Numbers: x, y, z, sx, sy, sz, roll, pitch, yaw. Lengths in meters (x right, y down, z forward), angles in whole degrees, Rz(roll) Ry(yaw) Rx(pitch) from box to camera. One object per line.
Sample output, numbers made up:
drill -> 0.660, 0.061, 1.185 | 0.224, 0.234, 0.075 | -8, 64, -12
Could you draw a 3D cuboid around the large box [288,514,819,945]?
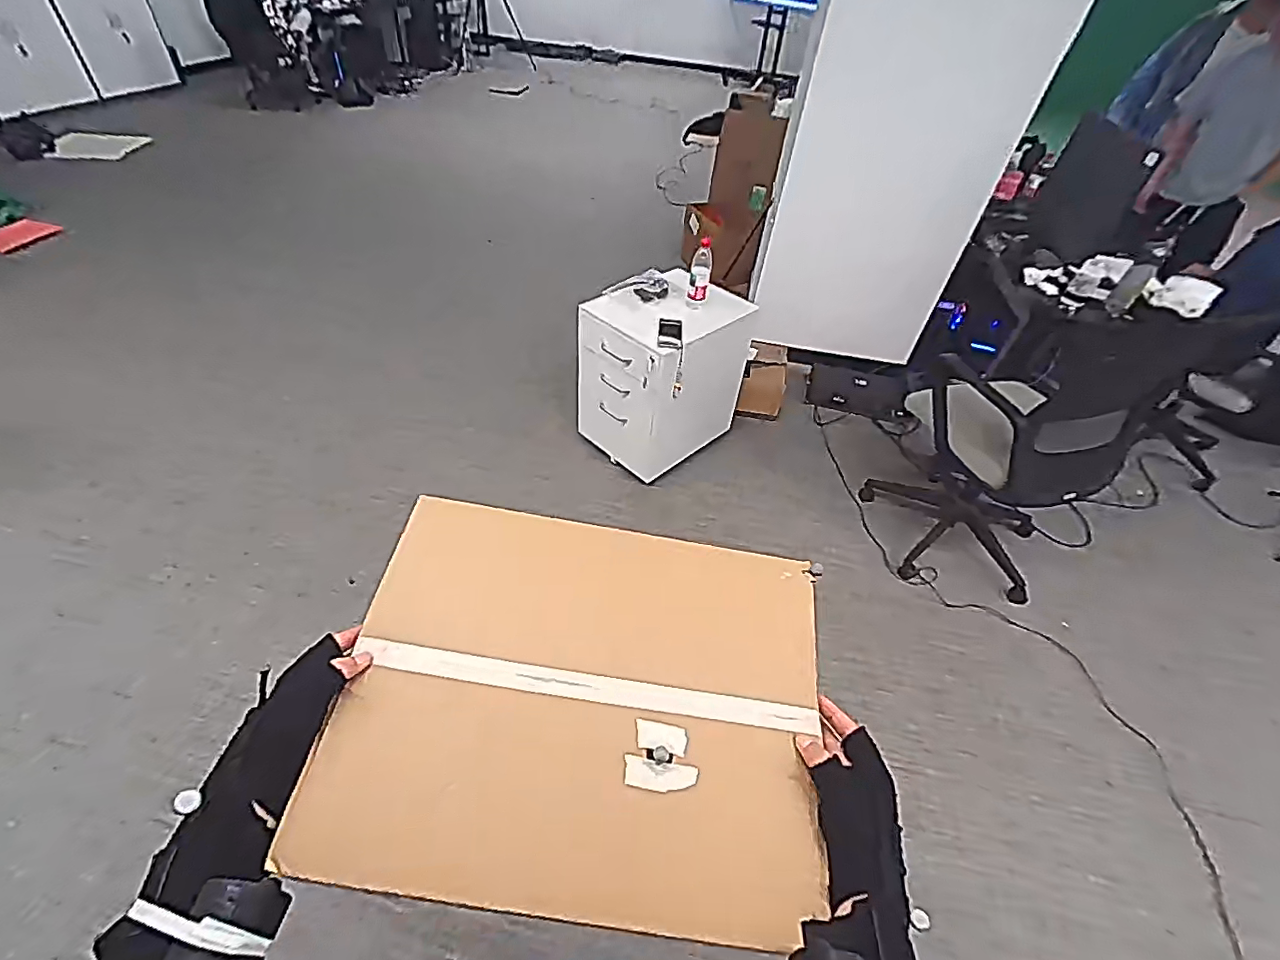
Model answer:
large box -> -0.064, 0.271, 0.601 | 0.408, 0.320, 0.320 | 10, 57, -2
